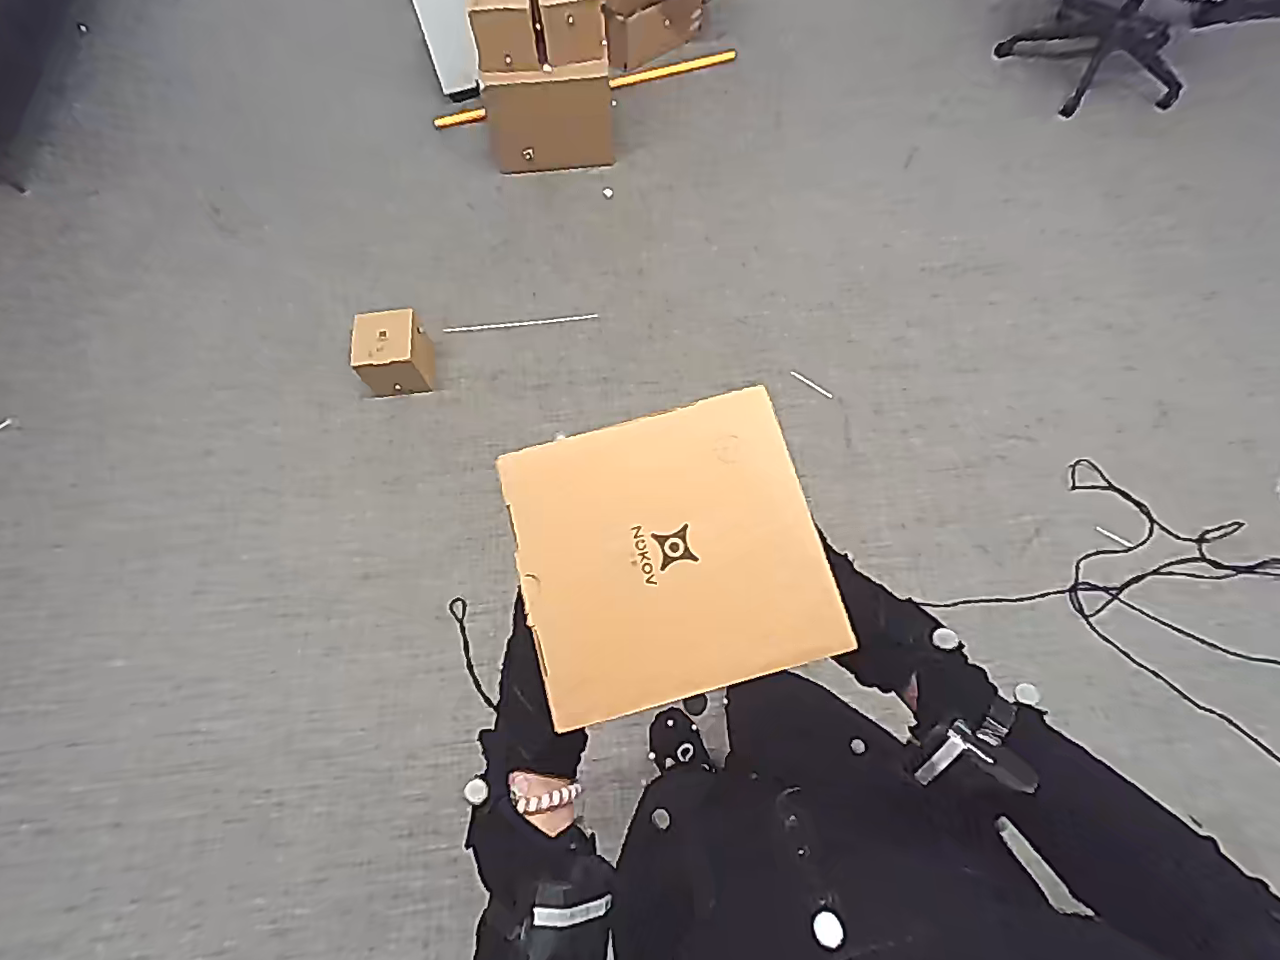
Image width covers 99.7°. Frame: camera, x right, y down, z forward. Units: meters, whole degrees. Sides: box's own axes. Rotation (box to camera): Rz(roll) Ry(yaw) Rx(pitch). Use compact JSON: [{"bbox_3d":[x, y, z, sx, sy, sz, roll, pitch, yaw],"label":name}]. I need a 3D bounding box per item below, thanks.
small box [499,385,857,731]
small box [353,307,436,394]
[{"bbox_3d":[0.020,0.055,0.389,0.179,0.176,0.168,-15,77,0],"label":"small box"},{"bbox_3d":[-0.705,-0.372,1.568,0.168,0.176,0.179,-7,69,-1],"label":"small box"}]
